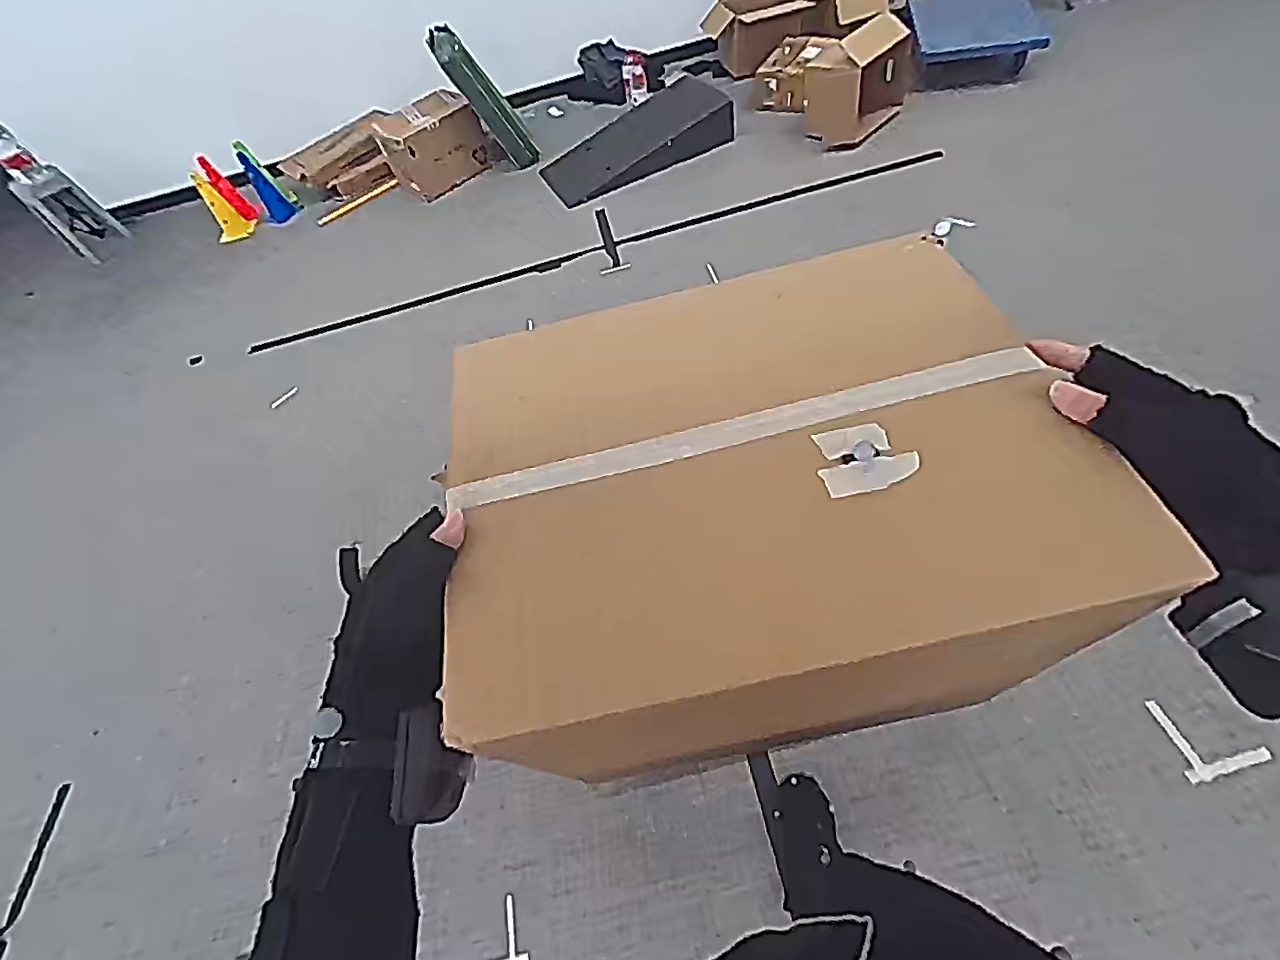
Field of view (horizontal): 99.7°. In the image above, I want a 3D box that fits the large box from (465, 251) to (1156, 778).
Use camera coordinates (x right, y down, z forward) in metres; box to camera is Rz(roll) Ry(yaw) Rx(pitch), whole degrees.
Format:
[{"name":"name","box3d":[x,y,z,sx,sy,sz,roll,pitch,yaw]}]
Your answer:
[{"name":"large box","box3d":[0.089,0.055,0.506,0.408,0.320,0.320,-14,57,2]}]
